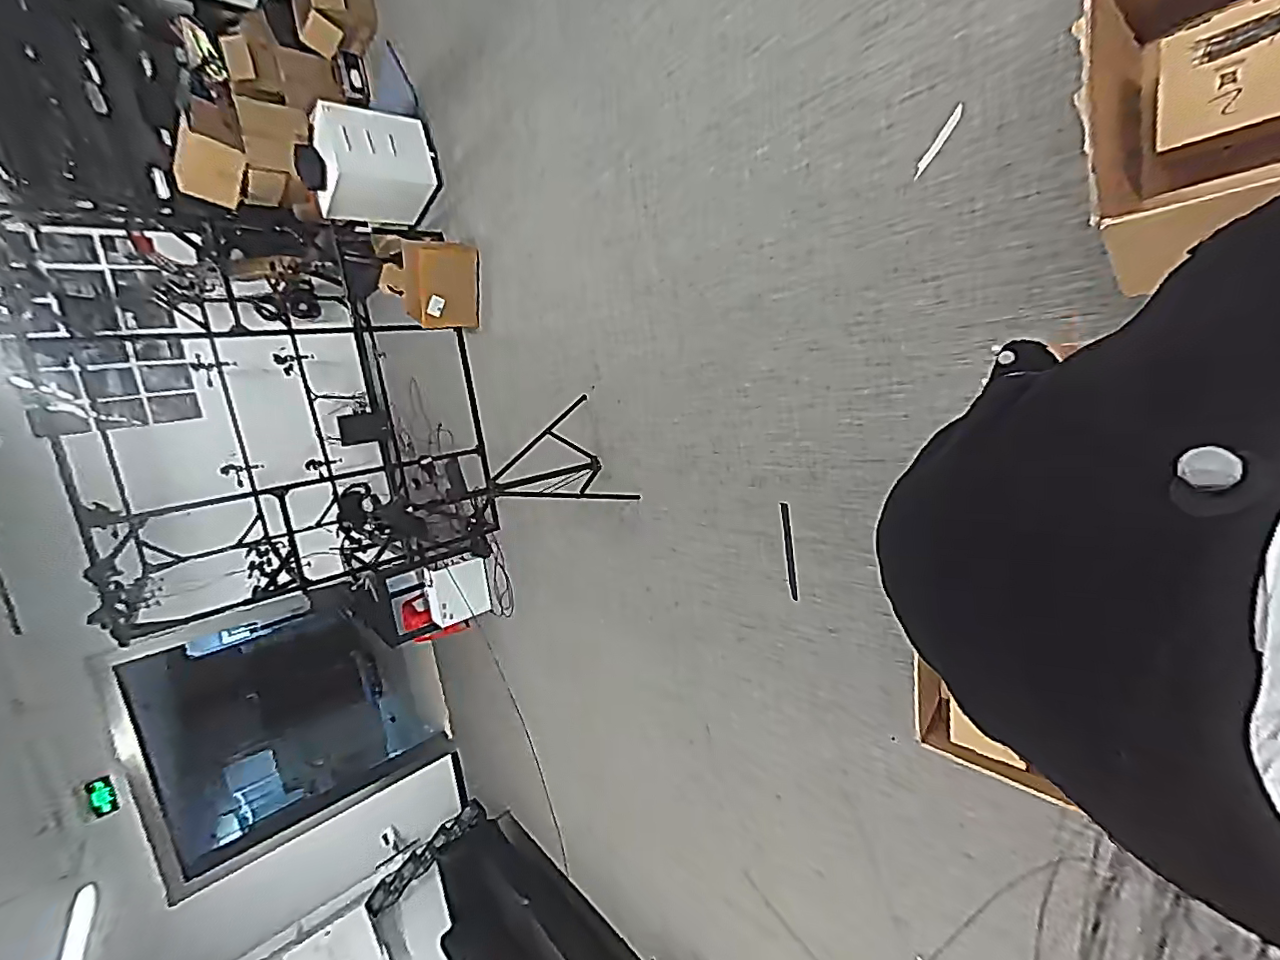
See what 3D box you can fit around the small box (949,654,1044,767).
[{"bbox_3d":[0.902,0.571,1.366,0.168,0.176,0.179,6,105,48],"label":"small box"}]
